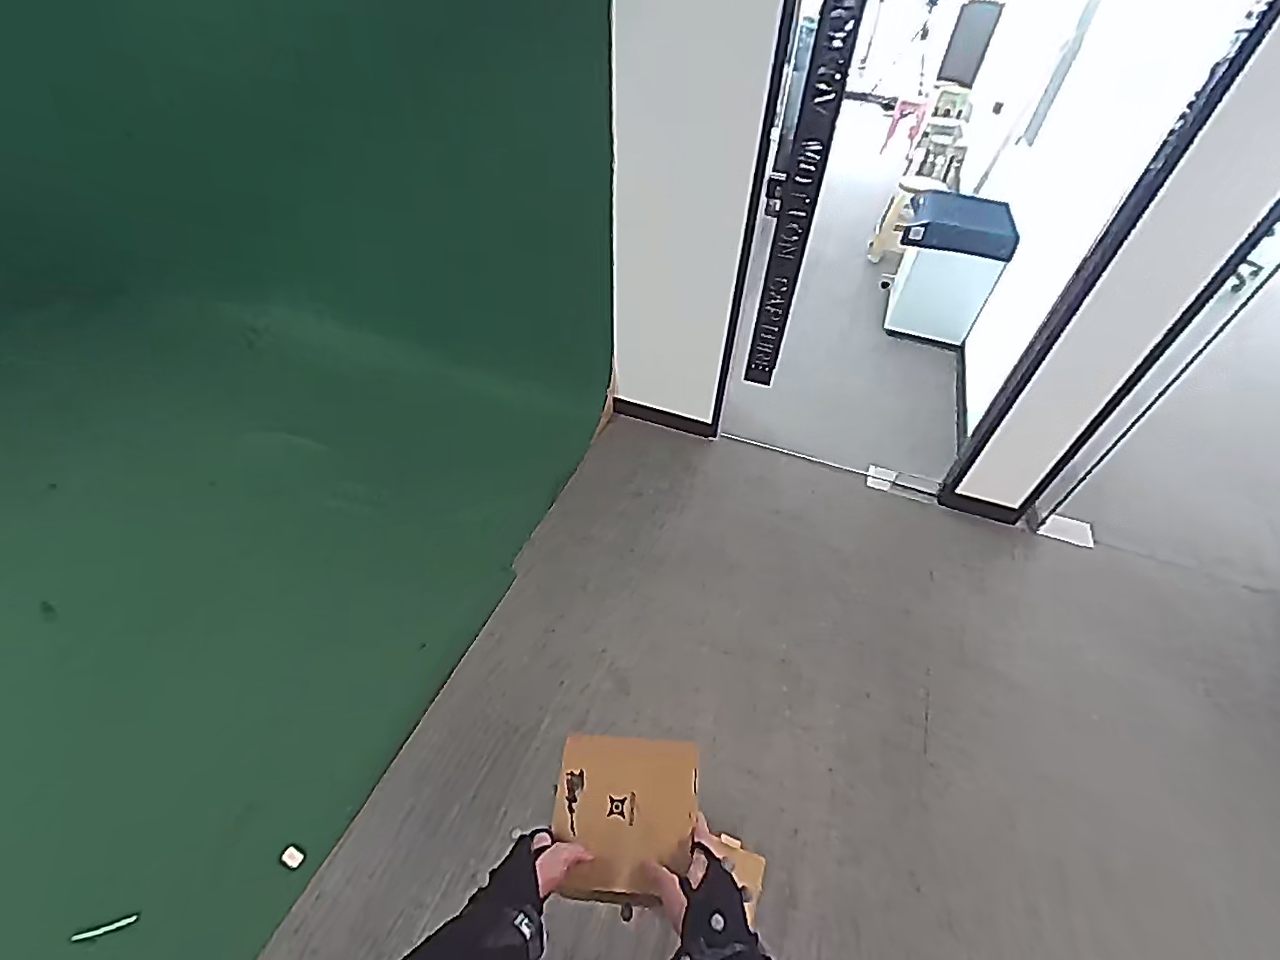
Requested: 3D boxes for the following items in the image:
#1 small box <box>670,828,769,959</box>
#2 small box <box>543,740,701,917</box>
[{"bbox_3d":[0.170,0.915,1.190,0.168,0.176,0.179,18,49,17],"label":"small box"},{"bbox_3d":[-0.012,0.461,0.714,0.179,0.176,0.168,2,48,6],"label":"small box"}]
